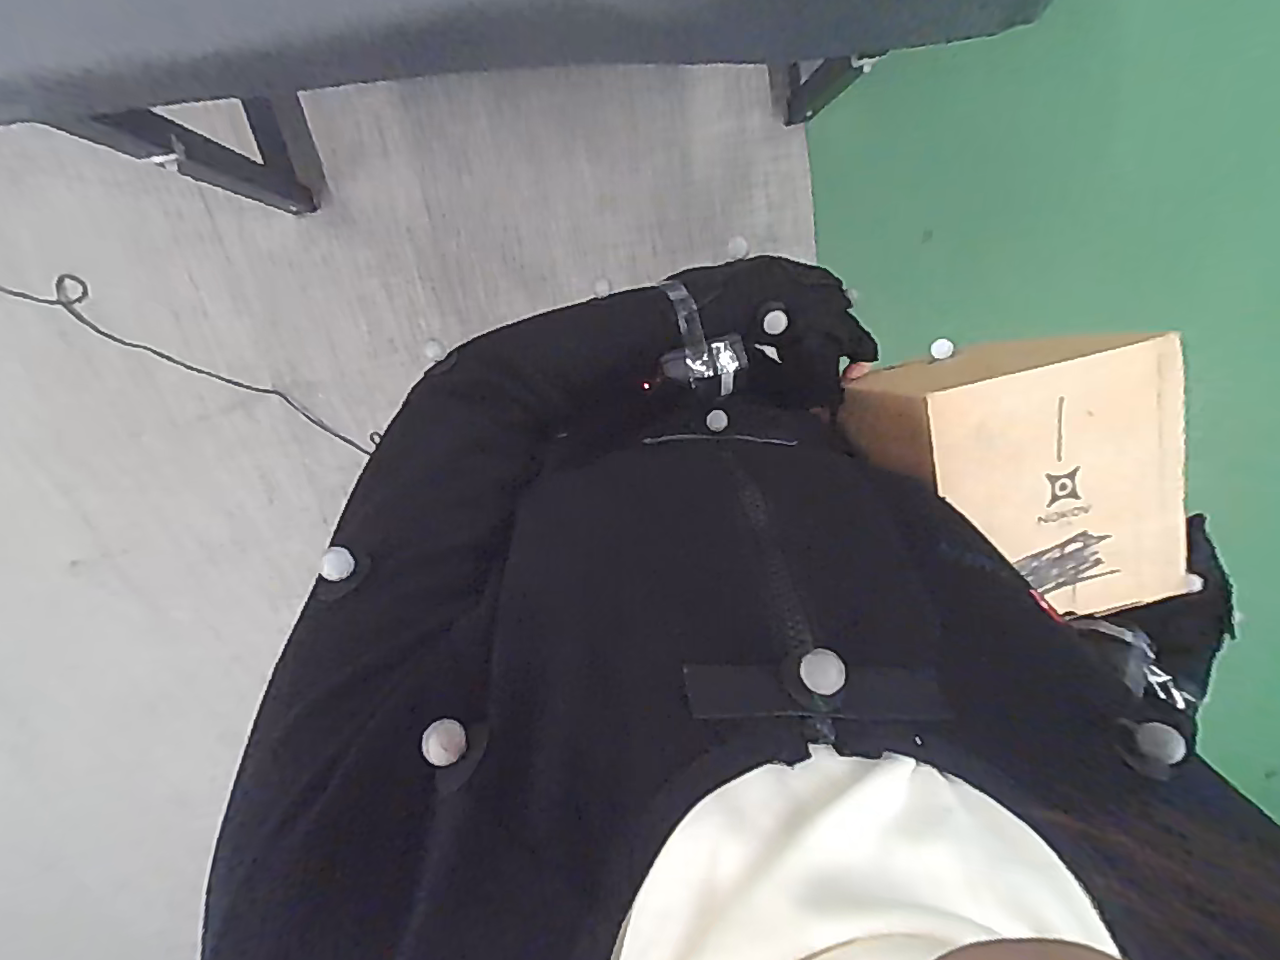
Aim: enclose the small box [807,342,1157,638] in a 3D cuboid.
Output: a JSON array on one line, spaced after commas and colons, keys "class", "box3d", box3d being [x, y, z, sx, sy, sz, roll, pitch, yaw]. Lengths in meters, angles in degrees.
[{"class": "small box", "box3d": [0.251, -0.006, 0.432, 0.168, 0.176, 0.179, -12, 102, -4]}]
